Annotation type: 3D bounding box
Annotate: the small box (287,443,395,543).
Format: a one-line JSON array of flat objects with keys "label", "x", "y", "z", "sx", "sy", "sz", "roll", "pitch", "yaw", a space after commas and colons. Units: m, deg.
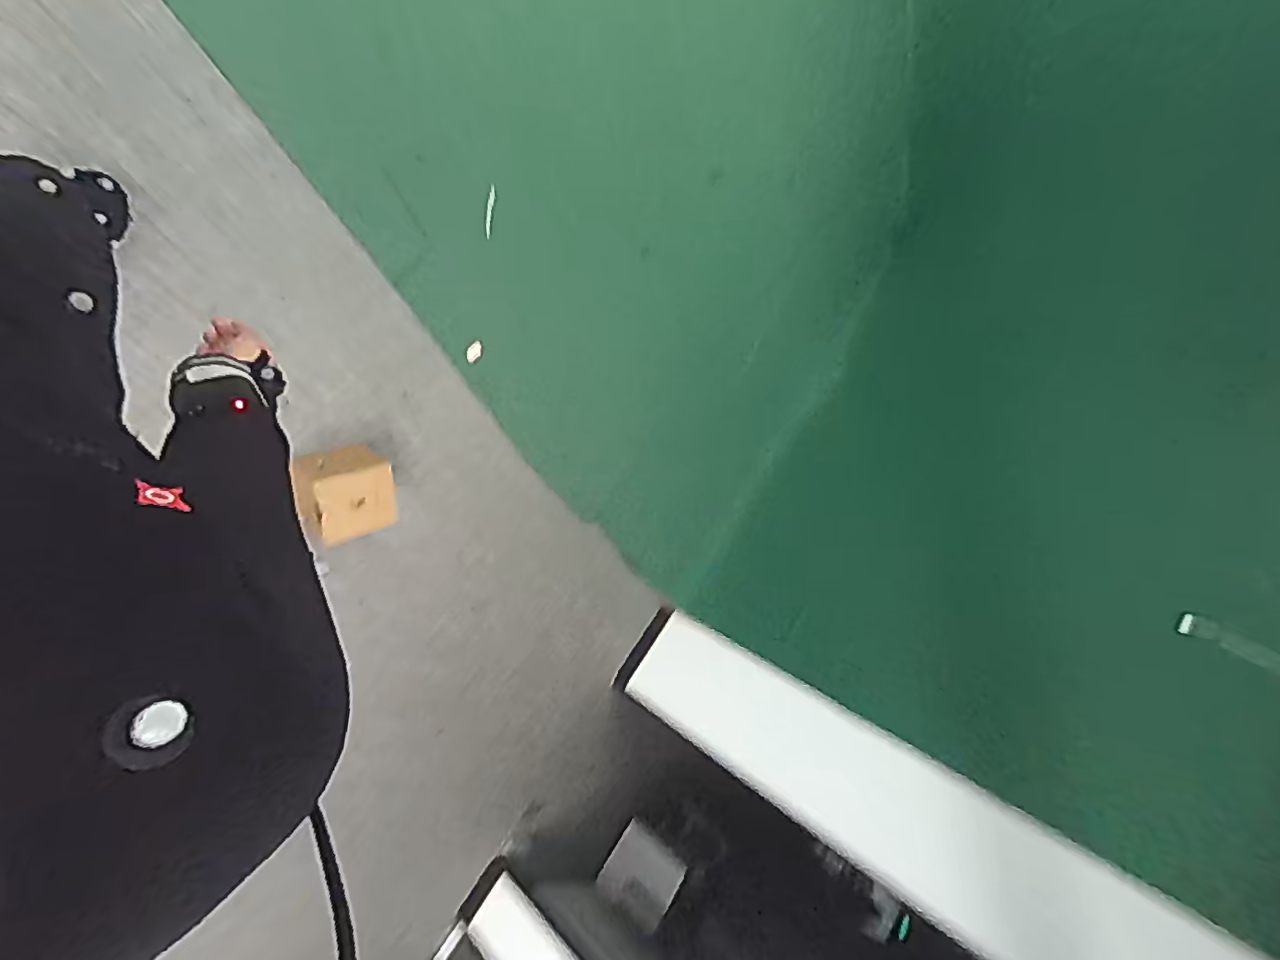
[{"label": "small box", "x": -0.728, "y": 0.024, "z": 1.312, "sx": 0.179, "sy": 0.176, "sz": 0.168, "roll": -24, "pitch": 129, "yaw": -45}]
